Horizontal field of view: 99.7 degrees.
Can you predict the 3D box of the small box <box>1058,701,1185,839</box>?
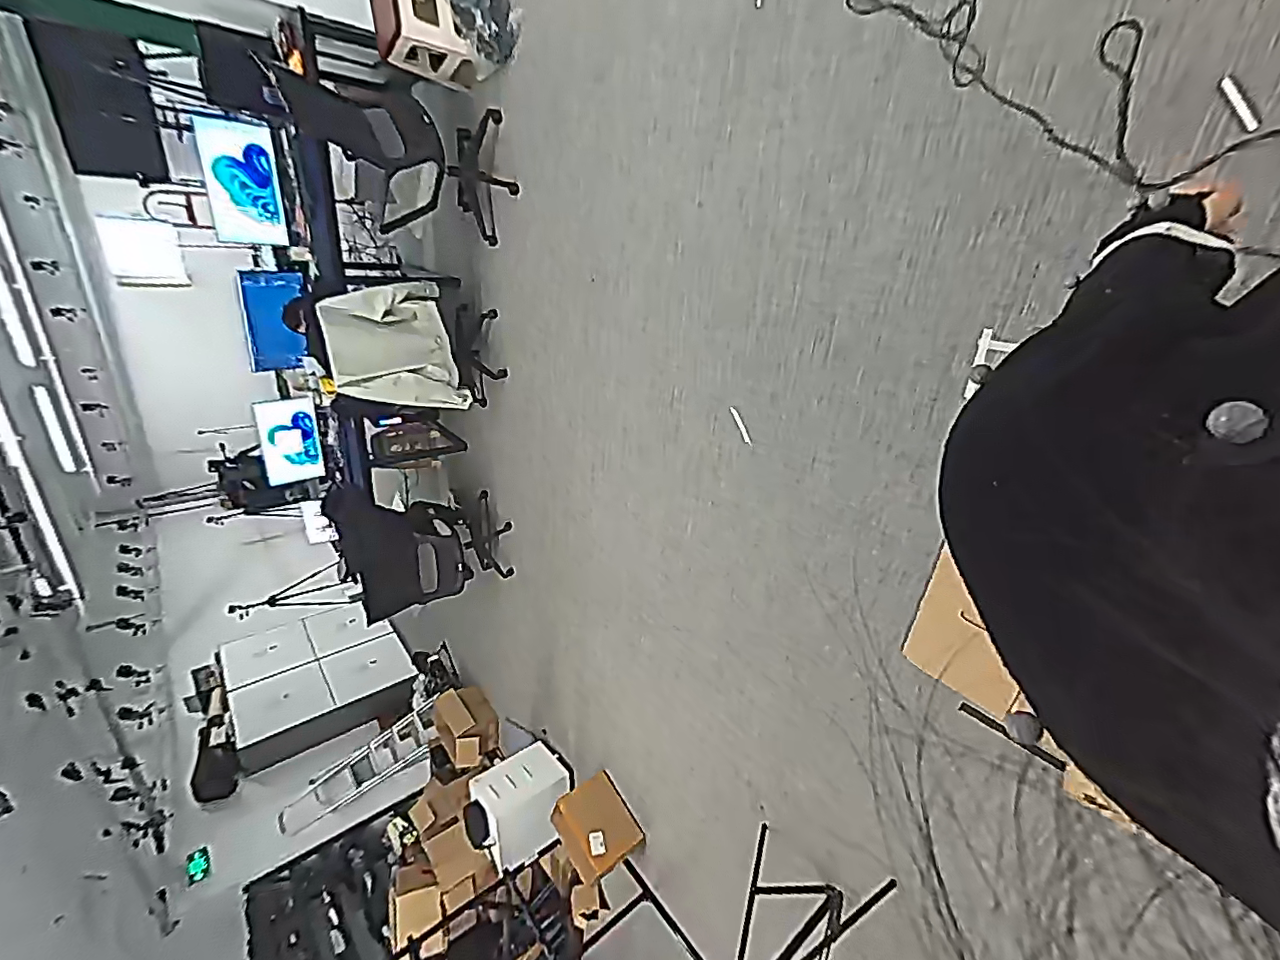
[{"bbox_3d":[1.076,0.634,1.207,0.168,0.176,0.179,22,119,46],"label":"small box"}]
